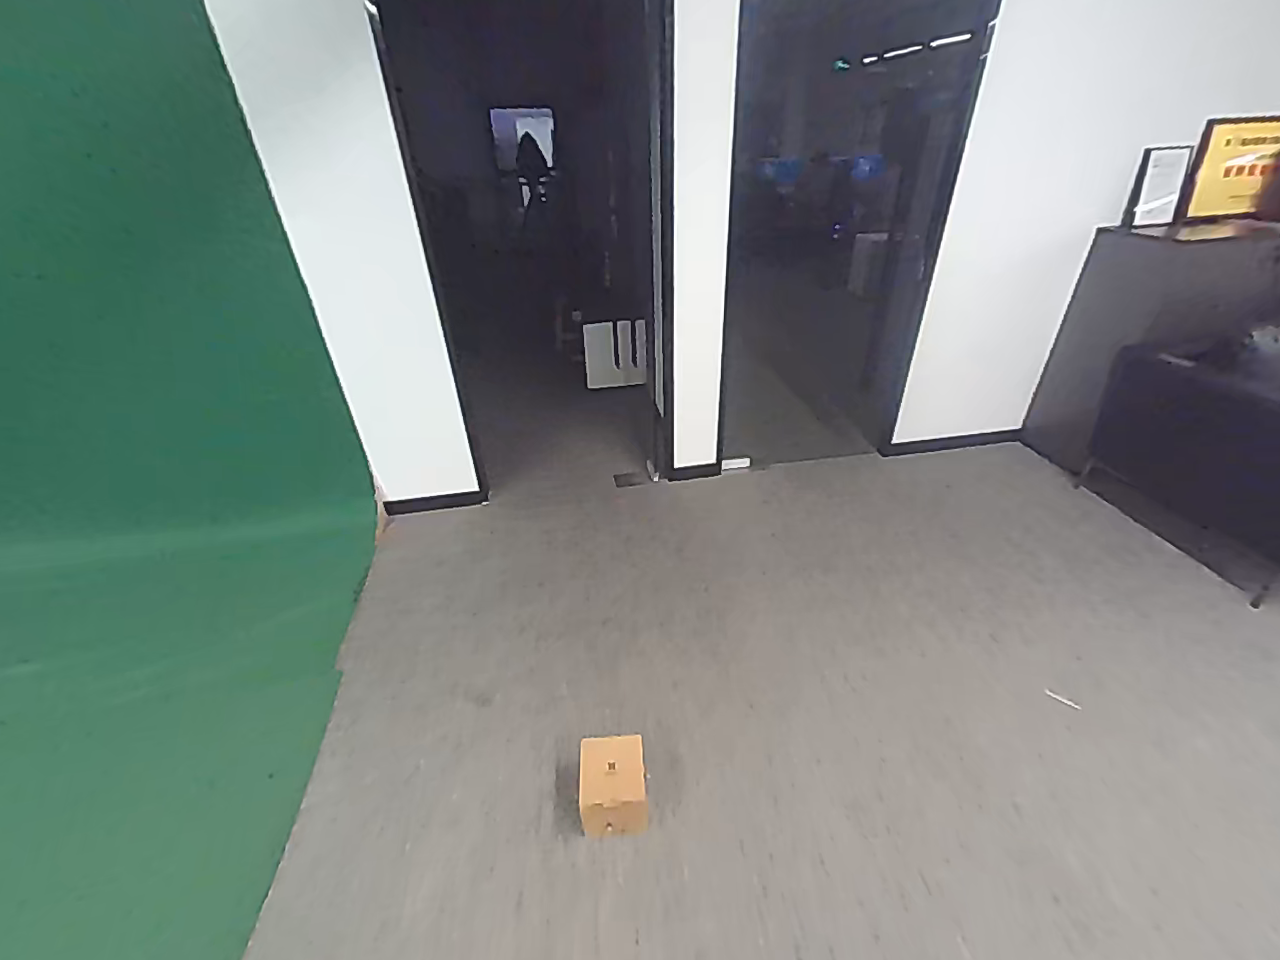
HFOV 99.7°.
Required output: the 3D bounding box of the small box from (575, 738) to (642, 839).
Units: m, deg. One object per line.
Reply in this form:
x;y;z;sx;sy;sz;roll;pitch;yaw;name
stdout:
-0.082;0.816;1.434;0.168;0.176;0.179;-3;33;-3;small box
